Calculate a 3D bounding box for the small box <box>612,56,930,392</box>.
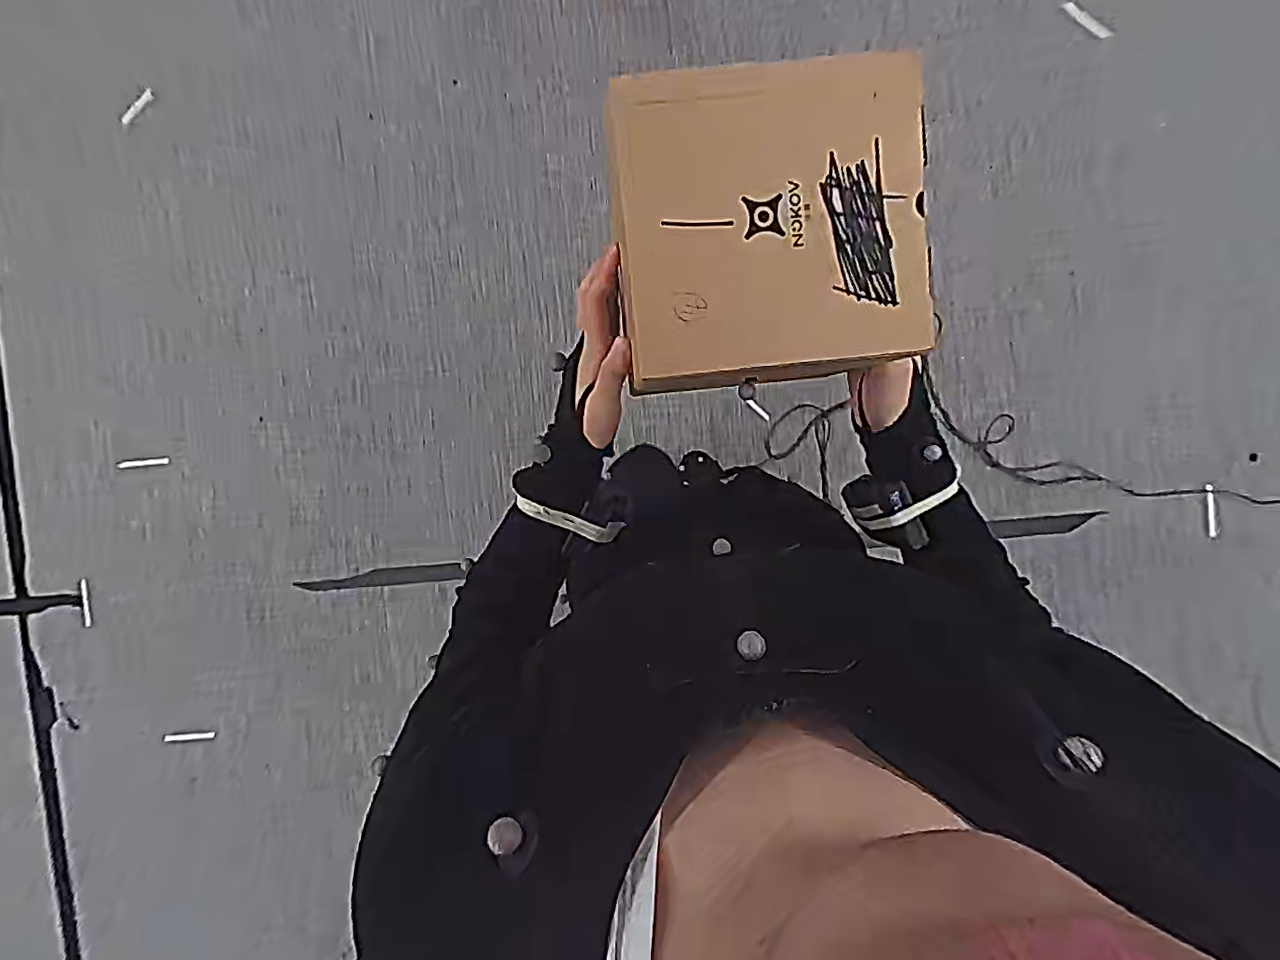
[{"bbox_3d":[0.073,-0.155,0.384,0.179,0.176,0.168,-6,96,-2],"label":"small box"}]
